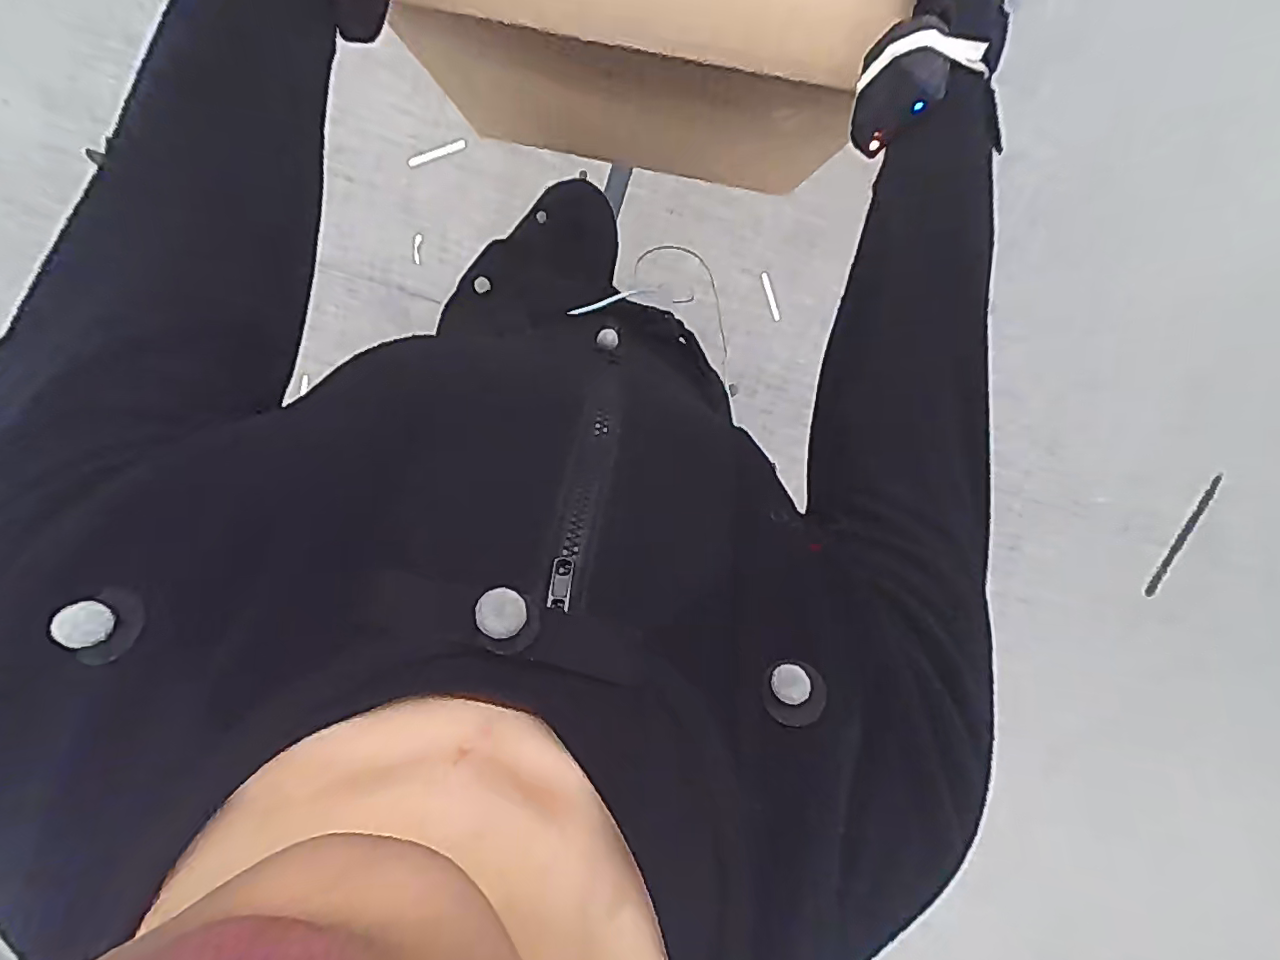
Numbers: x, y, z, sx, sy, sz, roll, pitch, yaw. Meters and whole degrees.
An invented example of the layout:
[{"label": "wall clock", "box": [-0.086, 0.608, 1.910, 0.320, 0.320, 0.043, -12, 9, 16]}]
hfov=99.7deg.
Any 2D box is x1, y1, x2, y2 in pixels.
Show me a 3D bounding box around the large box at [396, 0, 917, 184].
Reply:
[{"label": "large box", "box": [0.024, -0.517, 0.511, 0.408, 0.320, 0.320, 9, 106, -4]}]
